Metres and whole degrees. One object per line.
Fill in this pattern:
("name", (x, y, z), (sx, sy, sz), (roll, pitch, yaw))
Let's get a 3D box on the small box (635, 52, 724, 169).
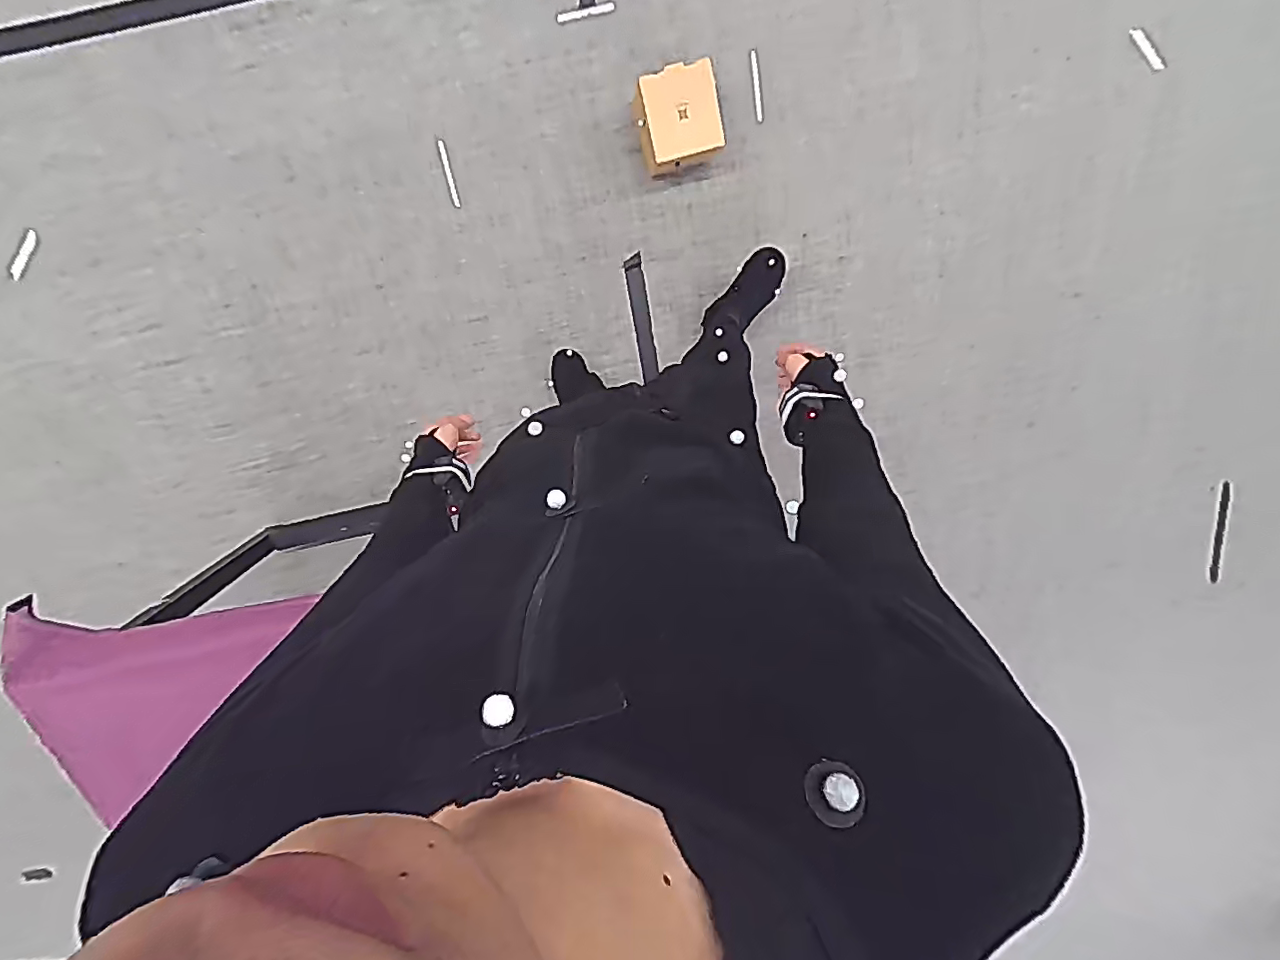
("small box", (0.090, -0.859, 1.279), (0.168, 0.176, 0.179), (-15, 109, 1))
